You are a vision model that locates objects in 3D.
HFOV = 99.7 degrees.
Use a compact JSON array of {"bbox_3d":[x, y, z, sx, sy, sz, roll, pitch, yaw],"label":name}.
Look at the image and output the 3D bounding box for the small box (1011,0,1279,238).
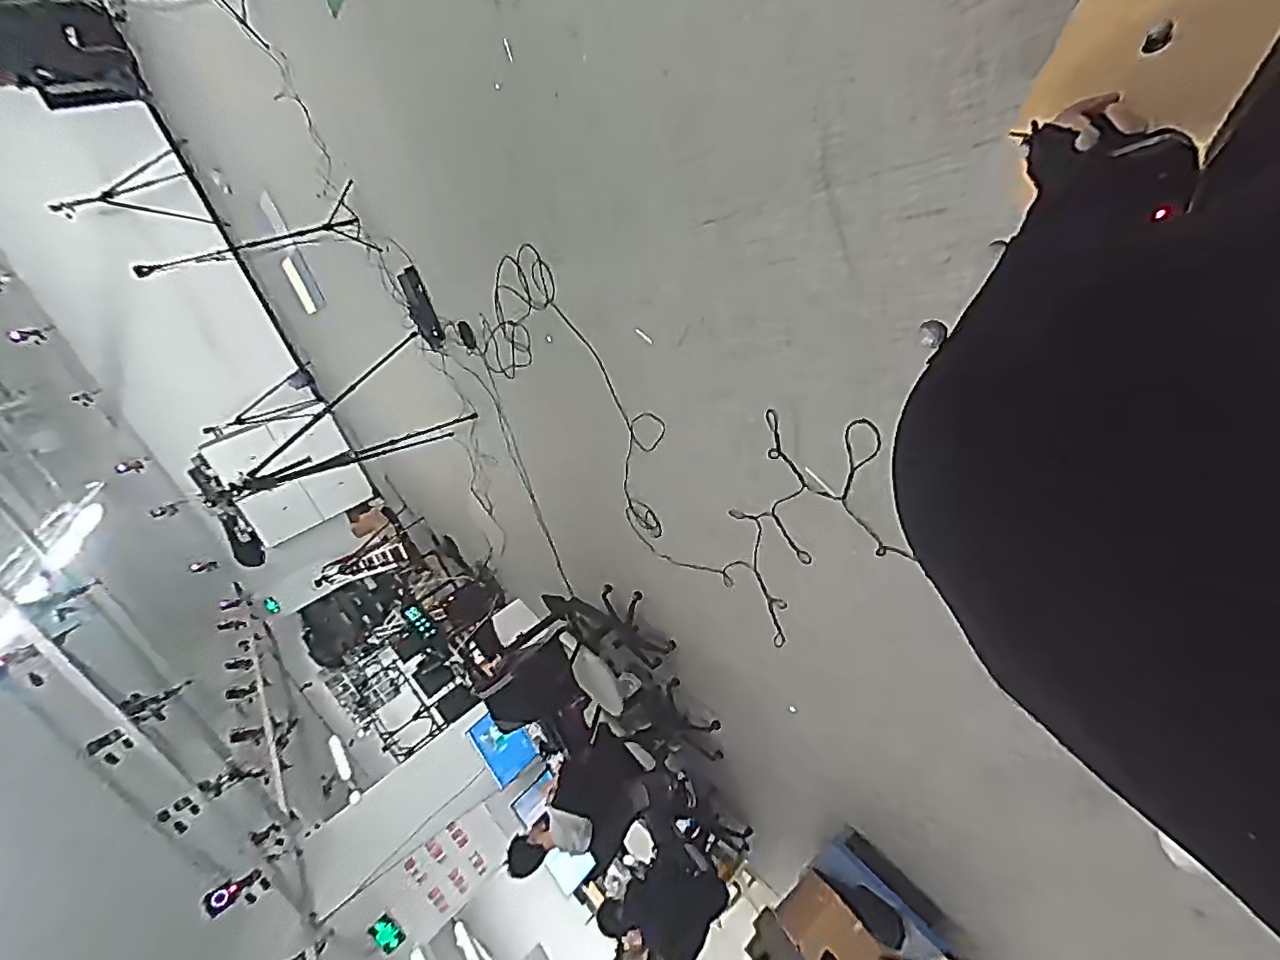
[{"bbox_3d":[0.528,-0.388,0.568,0.168,0.179,0.176,35,106,36],"label":"small box"}]
